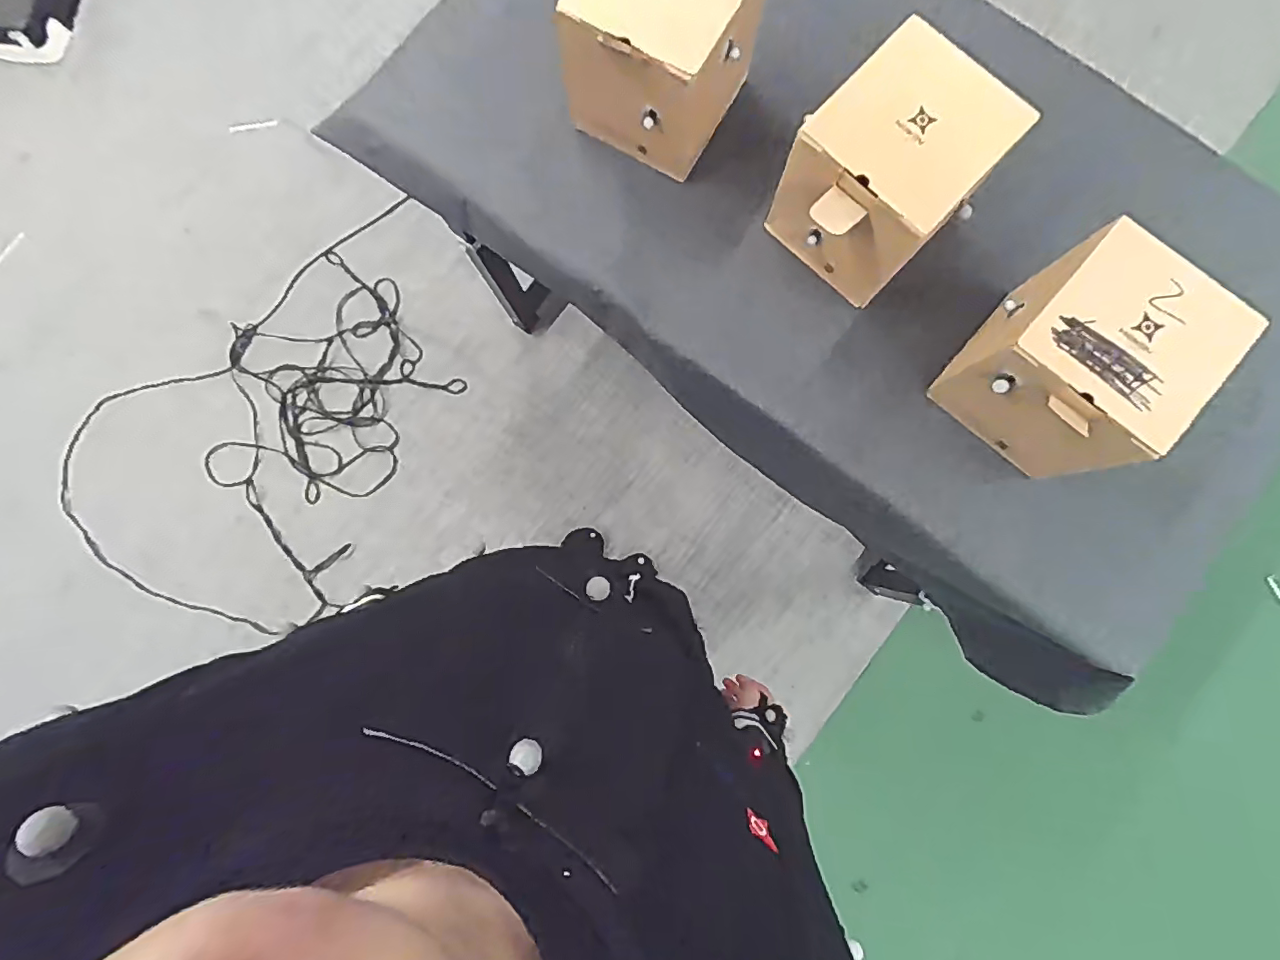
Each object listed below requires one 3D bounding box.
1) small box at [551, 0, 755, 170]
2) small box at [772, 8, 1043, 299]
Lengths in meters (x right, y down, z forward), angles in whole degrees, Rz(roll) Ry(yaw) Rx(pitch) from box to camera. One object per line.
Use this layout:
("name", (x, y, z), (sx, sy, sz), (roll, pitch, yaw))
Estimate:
("small box", (0.023, -0.506, 0.619), (0.168, 0.176, 0.179), (30, 84, 2))
("small box", (0.272, -0.341, 0.599), (0.168, 0.176, 0.179), (43, 87, 4))
